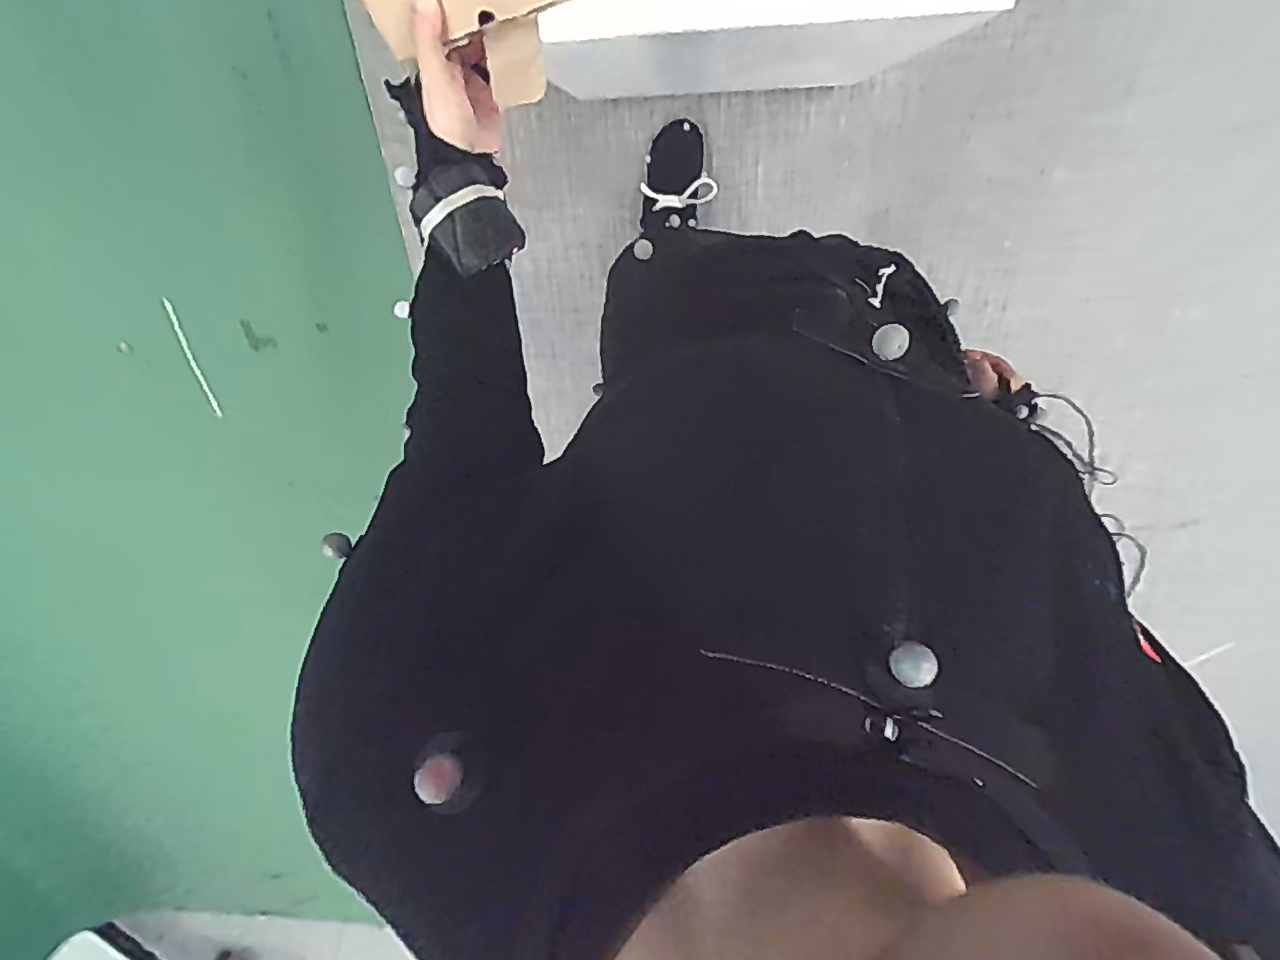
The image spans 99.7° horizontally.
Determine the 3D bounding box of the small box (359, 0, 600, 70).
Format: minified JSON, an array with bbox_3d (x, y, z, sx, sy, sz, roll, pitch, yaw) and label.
[{"bbox_3d":[-0.091,-0.388,0.310,0.168,0.176,0.179,5,146,27],"label":"small box"}]
